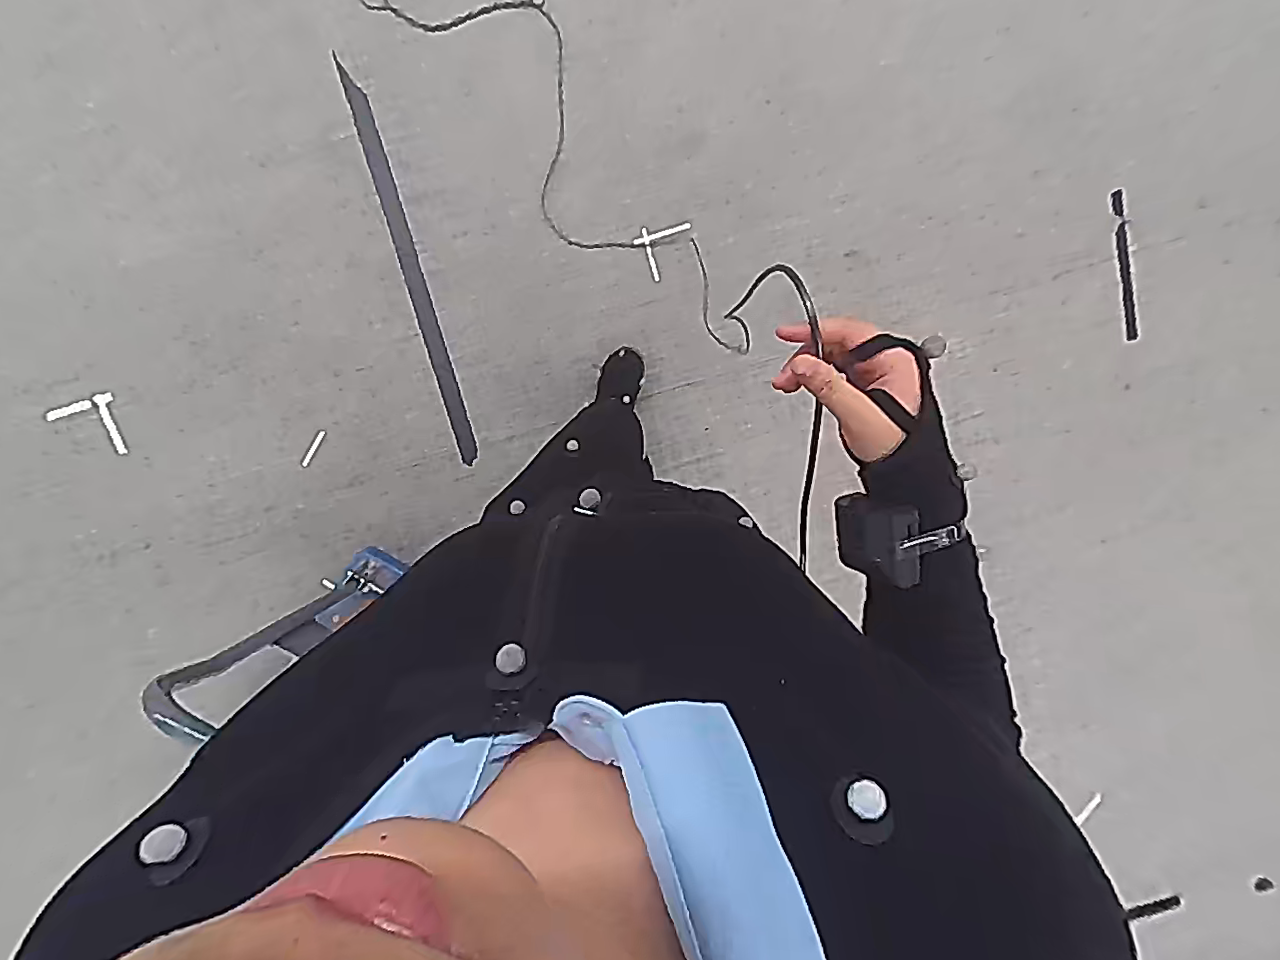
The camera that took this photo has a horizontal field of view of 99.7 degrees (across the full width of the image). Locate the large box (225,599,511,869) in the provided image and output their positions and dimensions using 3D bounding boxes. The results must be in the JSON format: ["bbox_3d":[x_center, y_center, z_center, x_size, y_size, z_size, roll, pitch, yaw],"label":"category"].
[{"bbox_3d":[-0.558,0.531,1.194,0.408,0.320,0.320,33,93,-5],"label":"large box"}]
